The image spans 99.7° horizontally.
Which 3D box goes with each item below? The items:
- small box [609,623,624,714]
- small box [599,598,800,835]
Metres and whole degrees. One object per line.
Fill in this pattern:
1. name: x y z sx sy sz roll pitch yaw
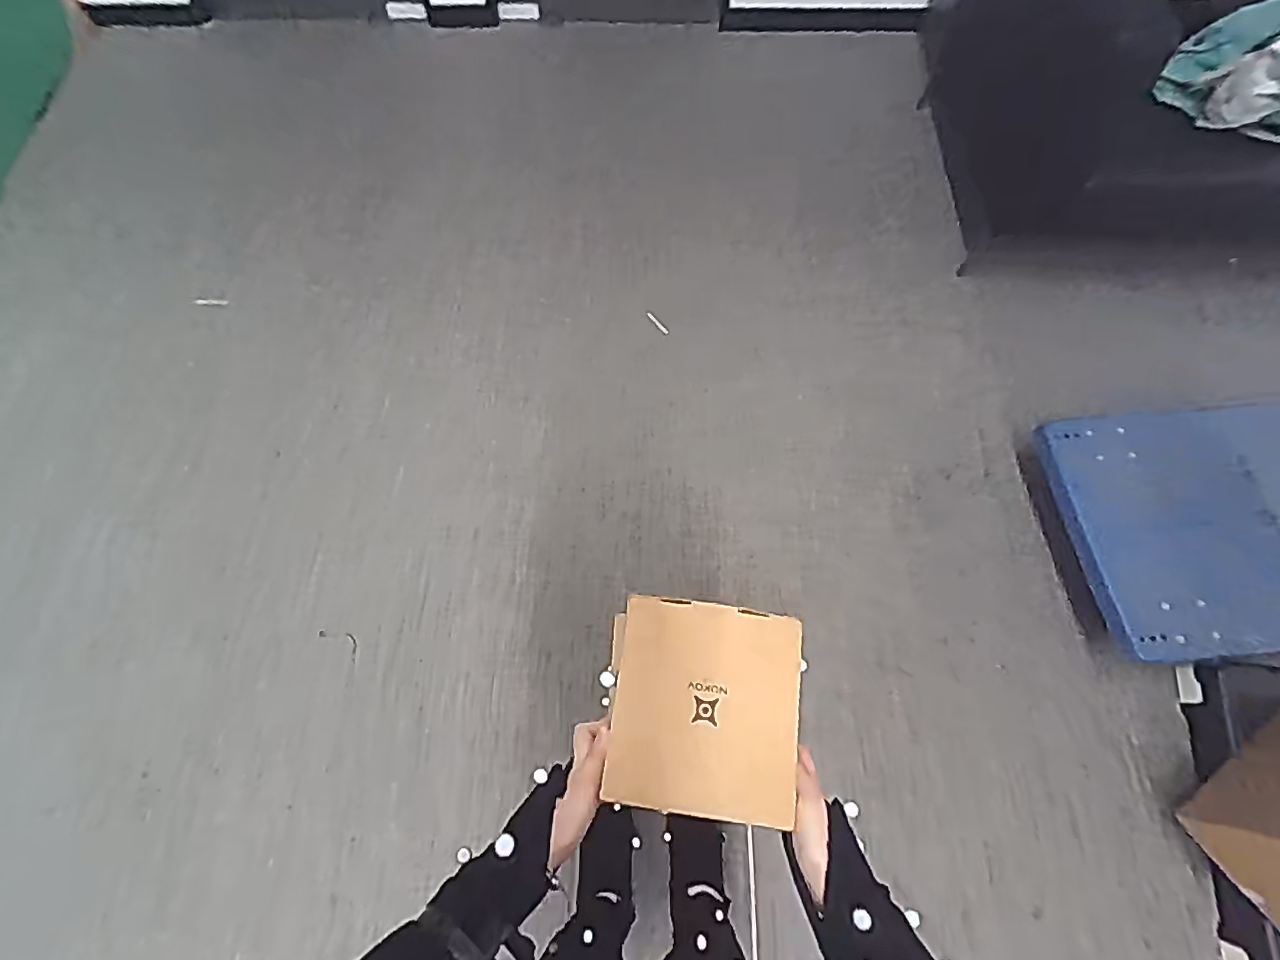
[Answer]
1. small box: 0.036 0.380 1.059 0.179 0.176 0.168 3 69 1
2. small box: 0.058 0.231 0.553 0.168 0.176 0.179 7 69 2
